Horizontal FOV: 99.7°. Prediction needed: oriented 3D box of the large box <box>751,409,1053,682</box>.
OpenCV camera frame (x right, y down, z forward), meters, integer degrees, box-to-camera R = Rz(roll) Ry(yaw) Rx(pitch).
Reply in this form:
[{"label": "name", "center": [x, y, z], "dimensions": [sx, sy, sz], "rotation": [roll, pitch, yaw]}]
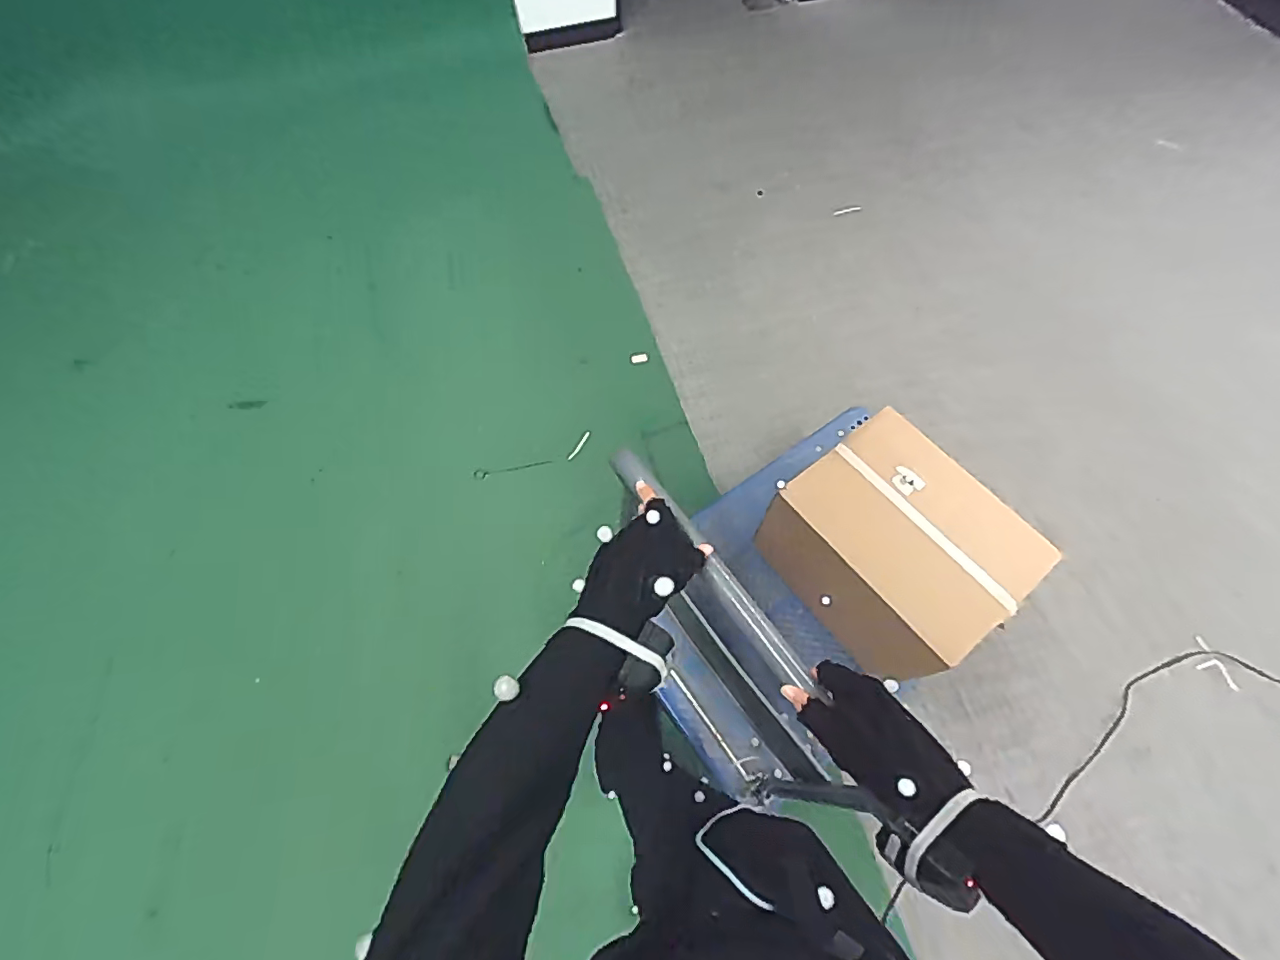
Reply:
[{"label": "large box", "center": [0.493, 0.143, 1.113], "dimensions": [0.320, 0.320, 0.408], "rotation": [-35, 67, -15]}]
